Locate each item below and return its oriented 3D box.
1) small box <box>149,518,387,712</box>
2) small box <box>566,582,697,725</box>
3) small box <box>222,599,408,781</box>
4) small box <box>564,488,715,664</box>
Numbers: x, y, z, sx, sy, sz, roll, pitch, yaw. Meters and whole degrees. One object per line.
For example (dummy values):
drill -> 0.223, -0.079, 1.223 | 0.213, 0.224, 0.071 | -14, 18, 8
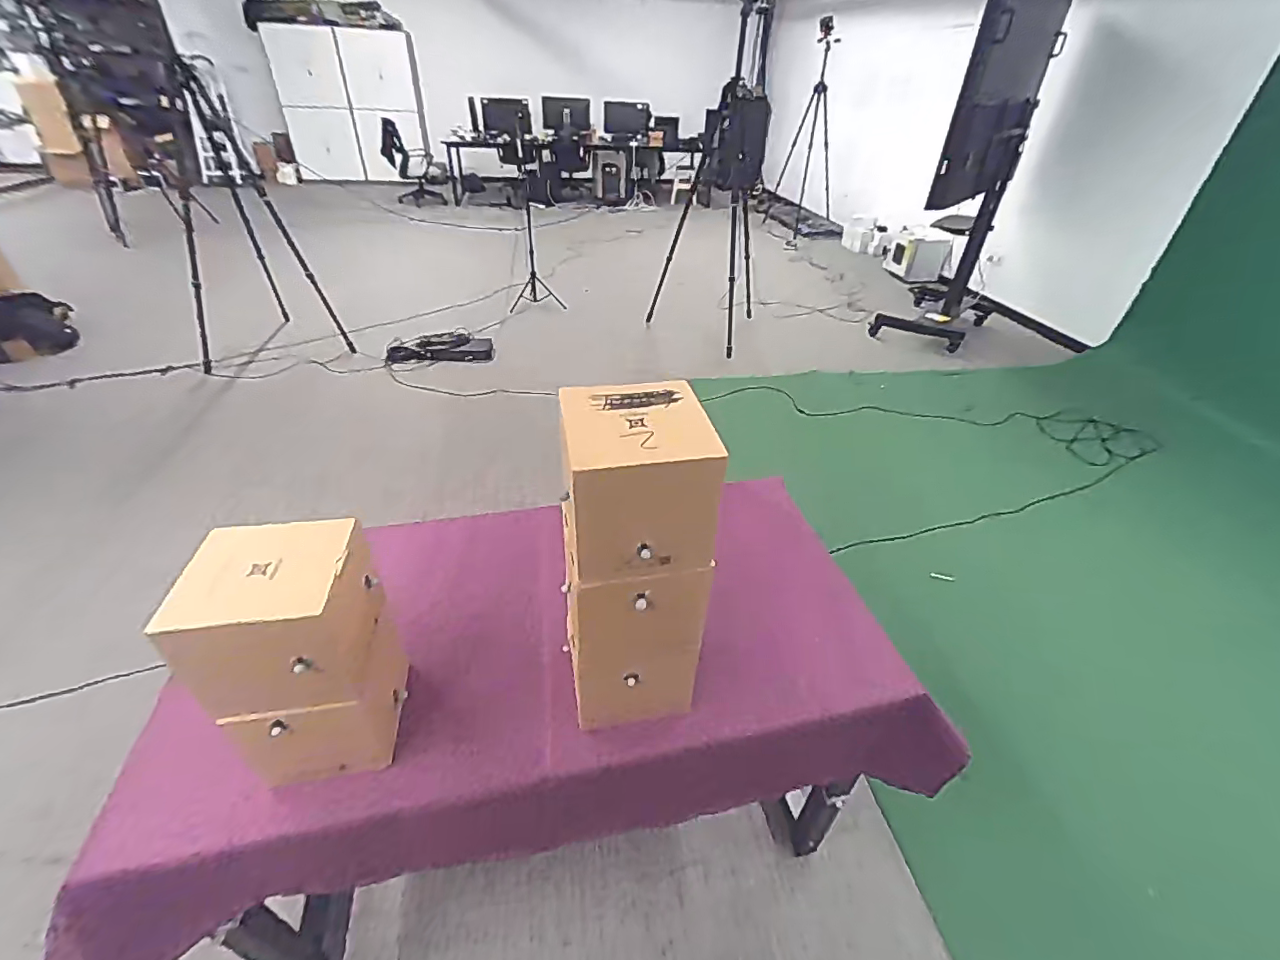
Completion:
small box -> -0.441, 0.168, 0.685 | 0.179, 0.176, 0.168 | -4, 37, -8
small box -> -0.019, 0.263, 0.857 | 0.179, 0.176, 0.168 | -5, 38, -10
small box -> -0.448, 0.299, 0.783 | 0.168, 0.176, 0.179 | -5, 37, -9
small box -> -0.011, 0.133, 0.759 | 0.179, 0.176, 0.168 | -6, 38, -10
